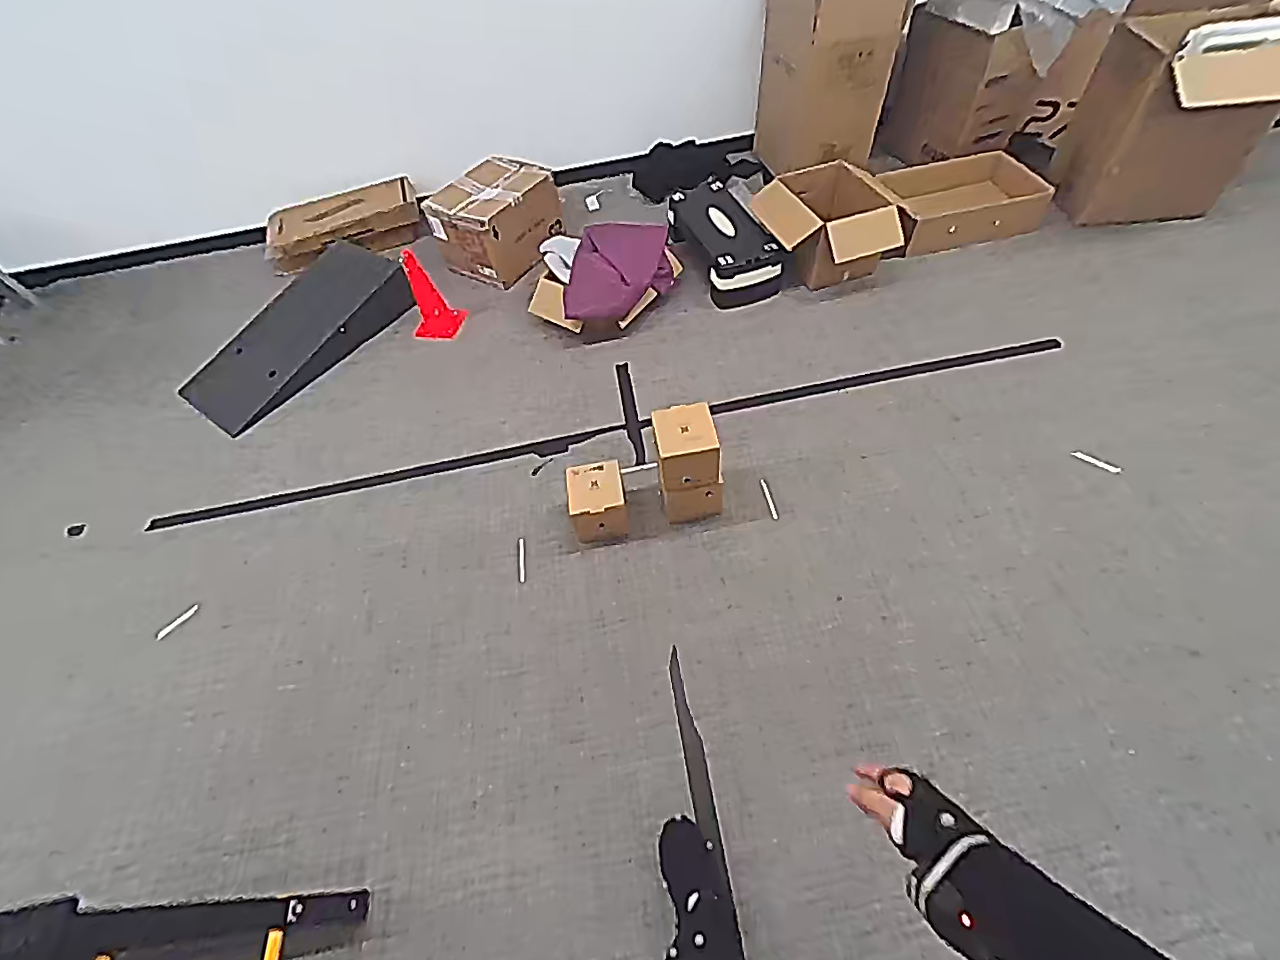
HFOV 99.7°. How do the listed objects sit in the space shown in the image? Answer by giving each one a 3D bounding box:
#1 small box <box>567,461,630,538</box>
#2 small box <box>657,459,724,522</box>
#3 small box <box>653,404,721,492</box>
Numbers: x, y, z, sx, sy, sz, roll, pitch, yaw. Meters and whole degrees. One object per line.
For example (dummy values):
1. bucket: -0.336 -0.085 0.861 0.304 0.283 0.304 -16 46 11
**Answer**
1. small box: -0.128 0.068 1.685 0.168 0.176 0.179 -10 55 1
2. small box: 0.154 0.012 1.692 0.179 0.176 0.168 -12 54 -2
3. small box: 0.133 -0.092 1.568 0.168 0.176 0.179 -11 55 0
